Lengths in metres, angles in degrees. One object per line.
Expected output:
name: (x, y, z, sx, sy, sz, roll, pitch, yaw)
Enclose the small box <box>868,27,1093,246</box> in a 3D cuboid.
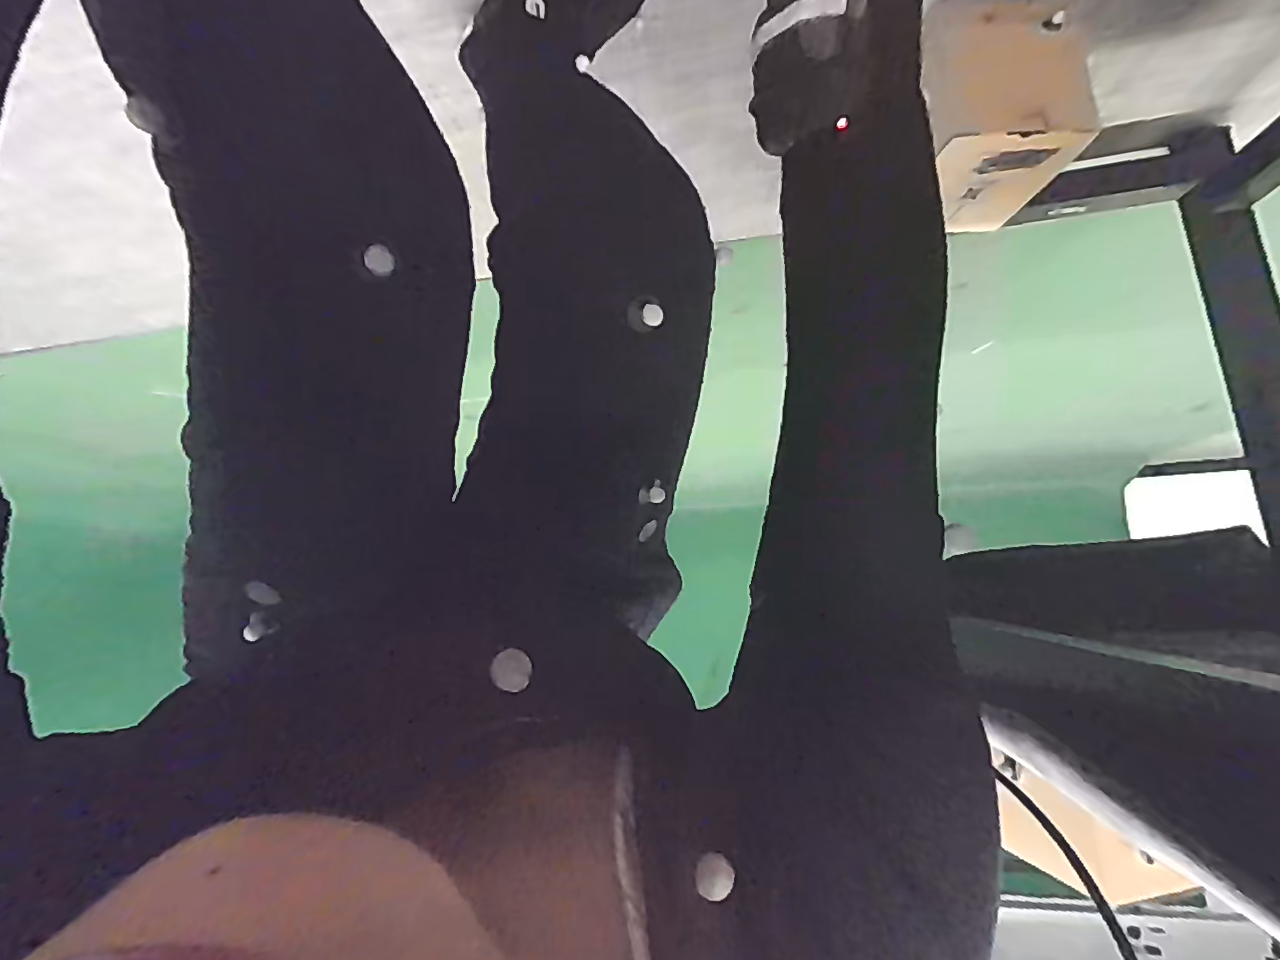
small box: (0.405, -0.423, 0.680, 0.168, 0.176, 0.179, -2, 170, -2)
